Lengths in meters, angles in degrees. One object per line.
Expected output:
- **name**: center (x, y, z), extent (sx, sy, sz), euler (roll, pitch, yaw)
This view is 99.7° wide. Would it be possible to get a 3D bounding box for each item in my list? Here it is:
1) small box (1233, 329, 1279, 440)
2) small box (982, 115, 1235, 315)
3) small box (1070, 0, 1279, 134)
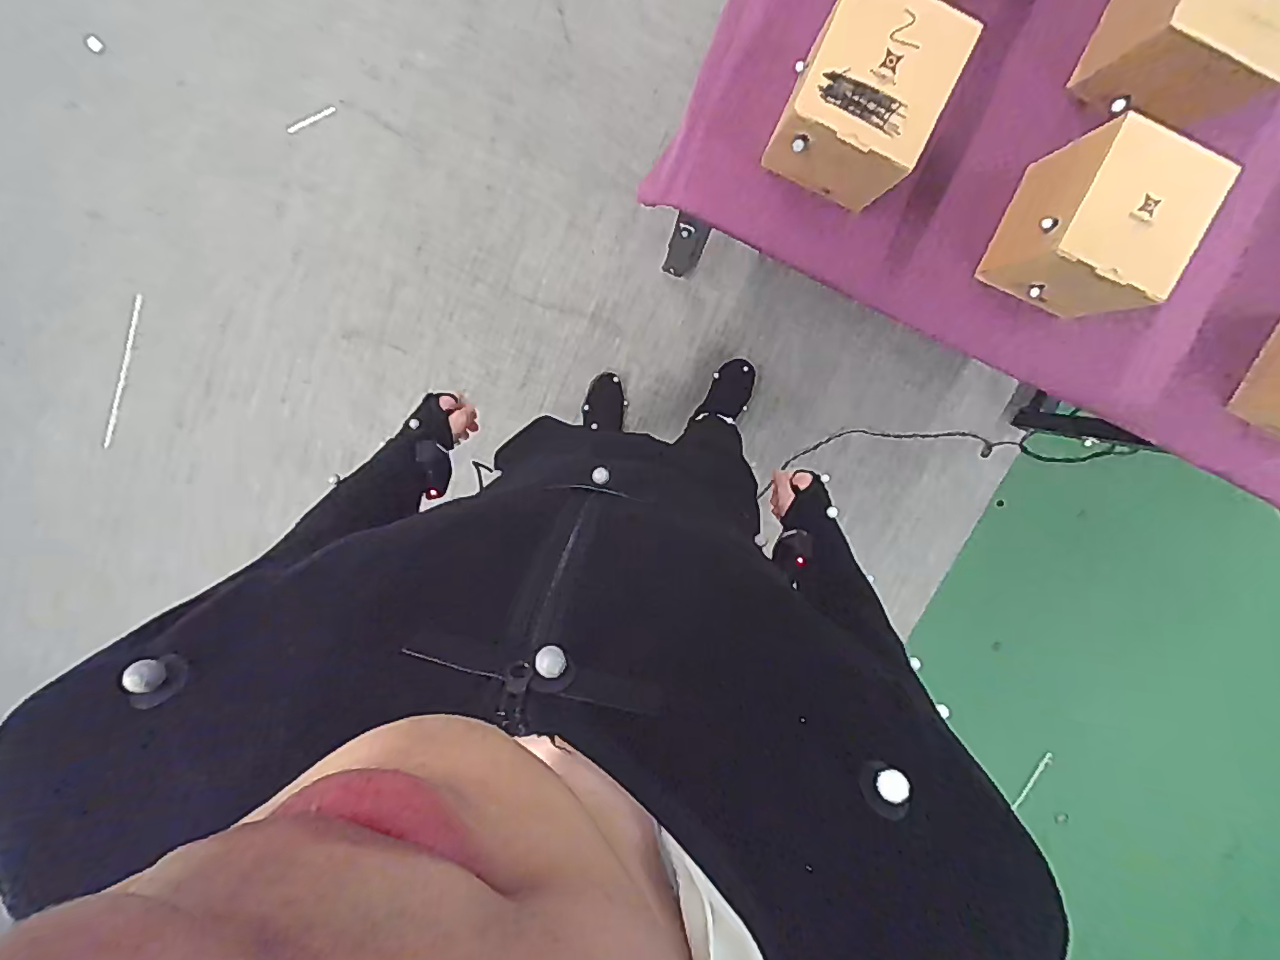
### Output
- **small box**: center (1.054, -0.143, 0.789), extent (0.168, 0.176, 0.179), euler (24, 100, -3)
- **small box**: center (0.624, -0.348, 0.749), extent (0.168, 0.176, 0.179), euler (22, 100, -5)
- **small box**: center (0.722, -0.593, 0.701), extent (0.168, 0.176, 0.179), euler (23, 101, -4)
